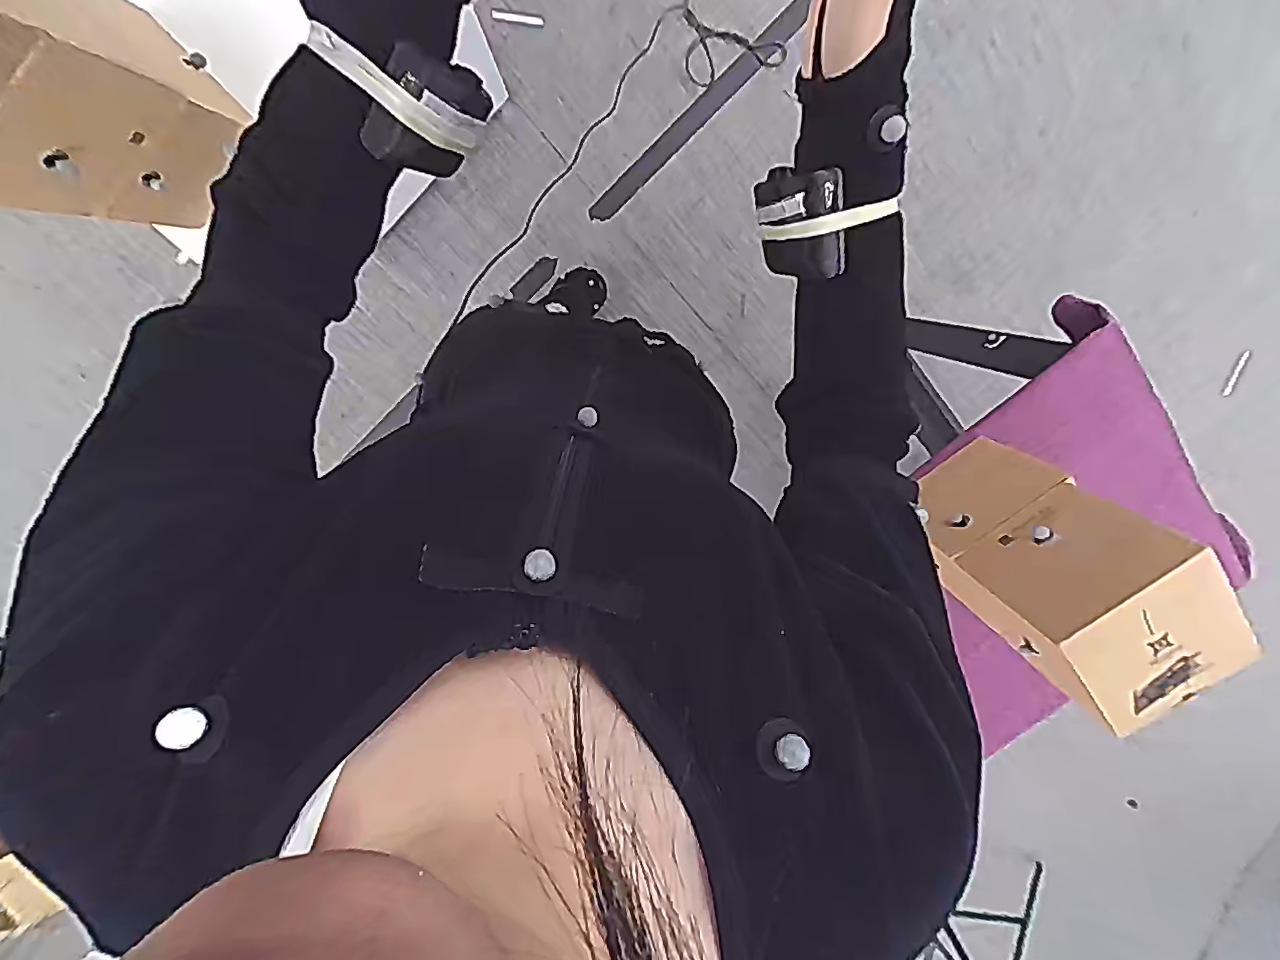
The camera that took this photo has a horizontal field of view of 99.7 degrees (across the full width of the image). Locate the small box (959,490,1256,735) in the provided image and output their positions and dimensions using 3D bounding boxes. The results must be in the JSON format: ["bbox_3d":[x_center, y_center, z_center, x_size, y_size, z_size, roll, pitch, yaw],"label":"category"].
[{"bbox_3d":[0.518,0.142,0.622,0.168,0.176,0.179,-39,110,9],"label":"small box"}]

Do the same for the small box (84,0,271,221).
[{"bbox_3d":[-0.574,-0.417,0.603,0.168,0.176,0.179,-41,109,9],"label":"small box"}]

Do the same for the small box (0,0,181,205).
[{"bbox_3d":[-0.555,-0.357,0.452,0.168,0.176,0.179,-42,109,10],"label":"small box"}]

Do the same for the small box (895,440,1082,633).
[{"bbox_3d":[0.498,0.073,0.770,0.179,0.176,0.168,-38,111,9],"label":"small box"}]
